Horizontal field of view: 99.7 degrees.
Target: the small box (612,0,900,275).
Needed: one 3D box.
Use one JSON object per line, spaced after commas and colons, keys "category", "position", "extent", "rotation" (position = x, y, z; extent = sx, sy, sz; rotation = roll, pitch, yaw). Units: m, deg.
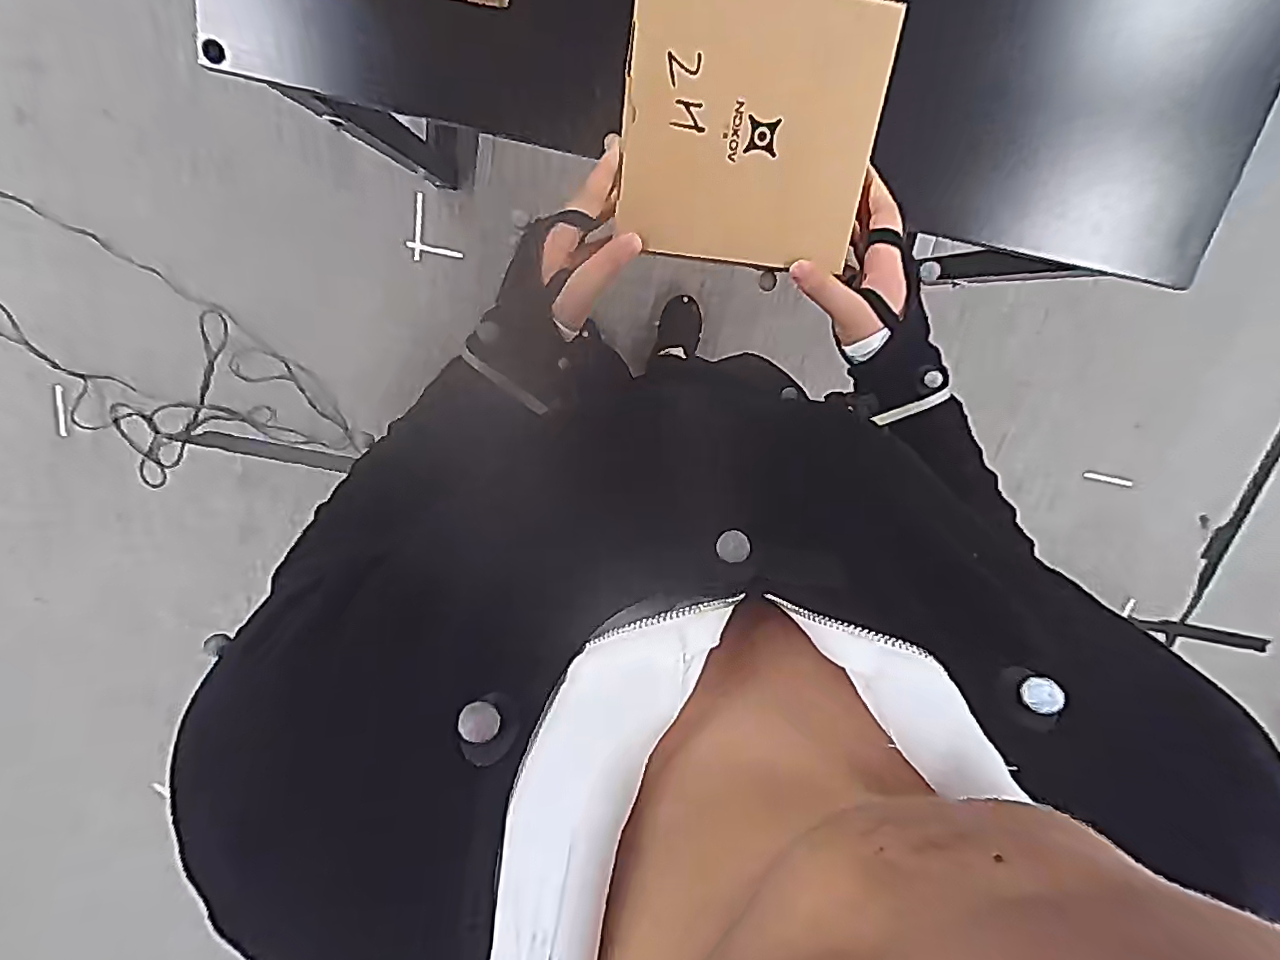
{"category": "small box", "position": [0.072, -0.270, 0.447], "extent": [0.179, 0.176, 0.168], "rotation": [6, 112, -4]}
